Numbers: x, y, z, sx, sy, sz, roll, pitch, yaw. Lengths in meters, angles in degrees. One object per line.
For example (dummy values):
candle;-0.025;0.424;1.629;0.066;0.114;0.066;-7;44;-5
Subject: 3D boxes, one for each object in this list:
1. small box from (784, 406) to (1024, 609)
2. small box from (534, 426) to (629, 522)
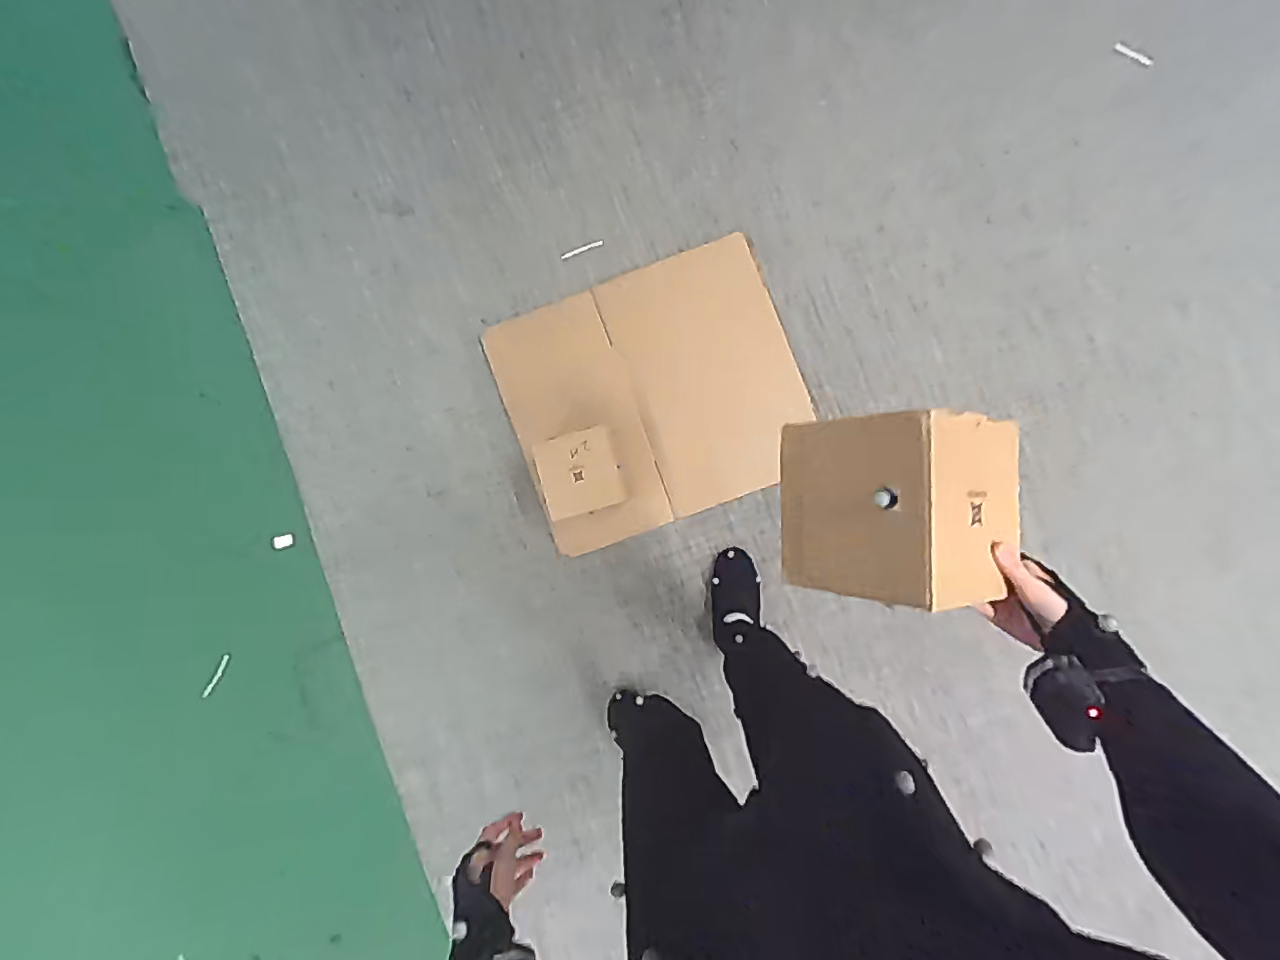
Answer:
small box;0.268;0.029;0.568;0.168;0.176;0.179;2;86;-32
small box;-0.124;-0.012;1.225;0.168;0.176;0.179;-15;88;1
